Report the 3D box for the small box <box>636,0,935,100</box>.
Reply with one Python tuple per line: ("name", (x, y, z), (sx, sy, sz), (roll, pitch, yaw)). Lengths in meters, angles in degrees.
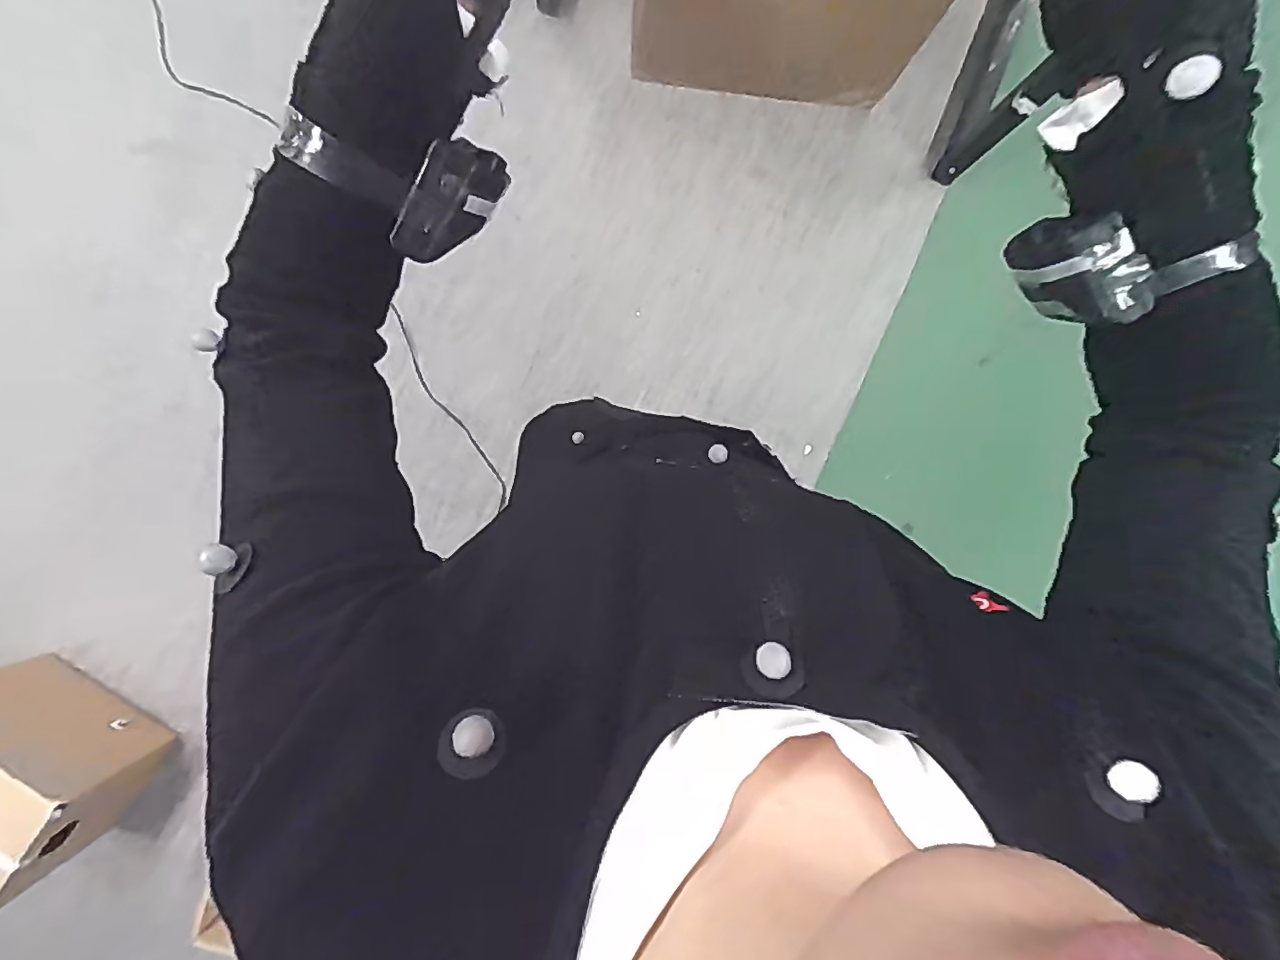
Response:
("small box", (0.092, -0.350, 0.299), (0.179, 0.176, 0.168), (5, 93, -3))
